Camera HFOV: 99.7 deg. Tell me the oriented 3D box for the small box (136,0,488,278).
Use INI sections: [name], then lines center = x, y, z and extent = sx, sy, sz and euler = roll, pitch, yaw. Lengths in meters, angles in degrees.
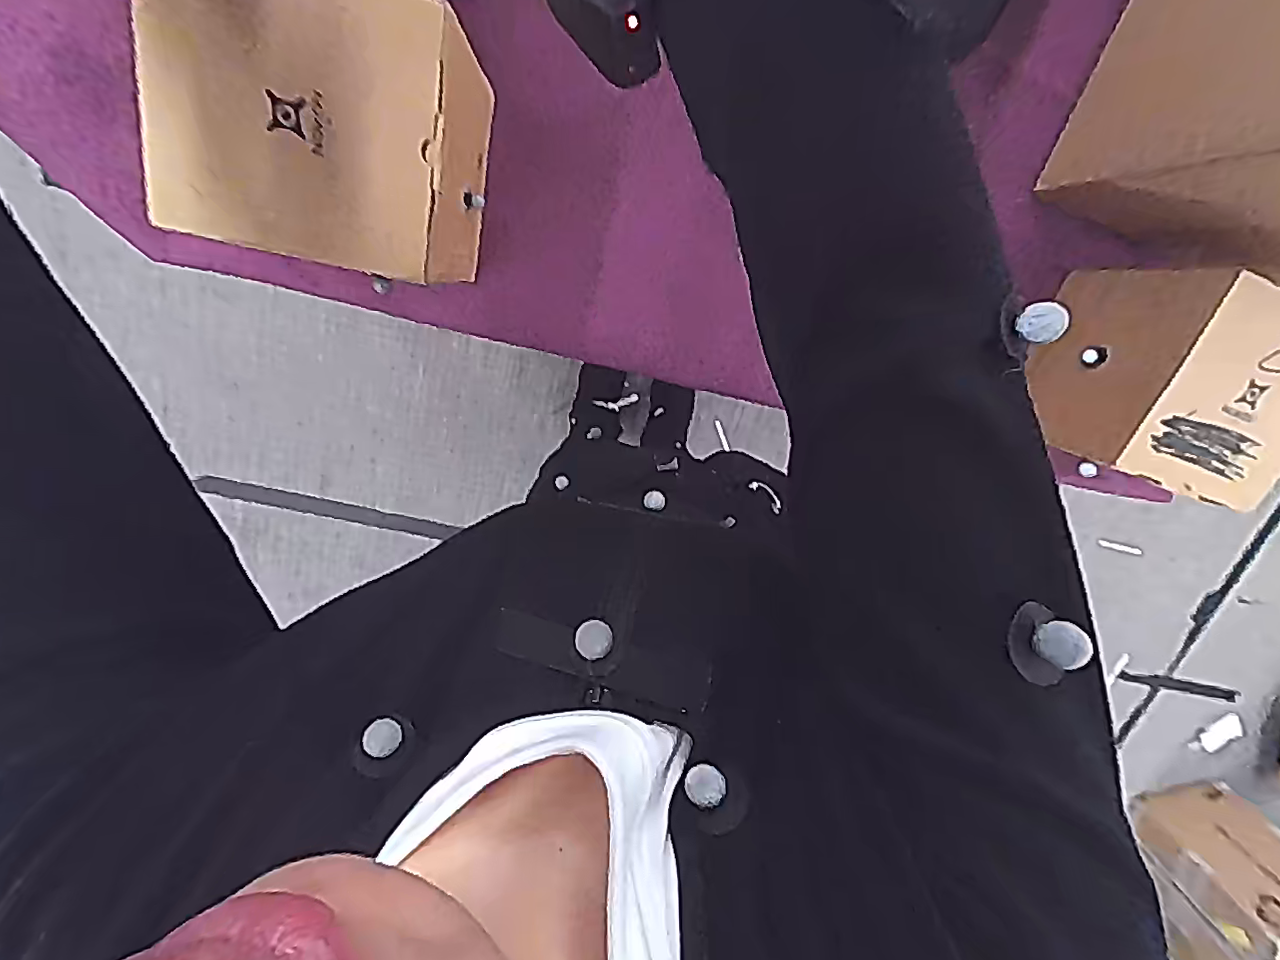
[small box]
center = -0.226, -0.256, 0.416
extent = 0.179, 0.176, 0.168
euler = 9, 108, -10
